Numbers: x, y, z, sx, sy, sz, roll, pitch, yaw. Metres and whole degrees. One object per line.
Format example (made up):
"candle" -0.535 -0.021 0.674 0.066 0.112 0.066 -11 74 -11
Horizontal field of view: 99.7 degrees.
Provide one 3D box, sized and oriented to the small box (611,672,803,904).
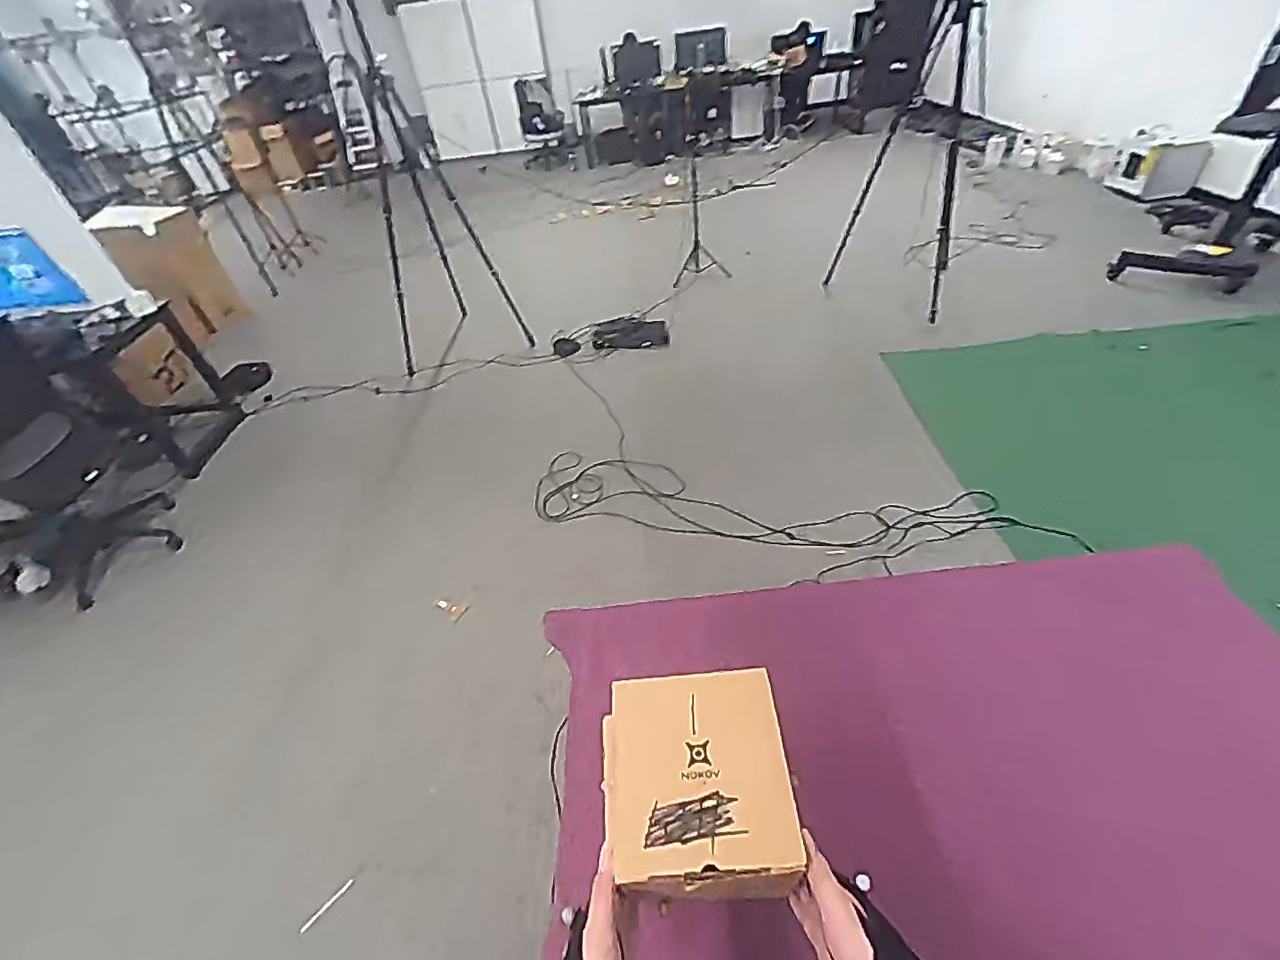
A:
"small box" 0.065 0.325 0.564 0.168 0.176 0.179 -7 45 4
